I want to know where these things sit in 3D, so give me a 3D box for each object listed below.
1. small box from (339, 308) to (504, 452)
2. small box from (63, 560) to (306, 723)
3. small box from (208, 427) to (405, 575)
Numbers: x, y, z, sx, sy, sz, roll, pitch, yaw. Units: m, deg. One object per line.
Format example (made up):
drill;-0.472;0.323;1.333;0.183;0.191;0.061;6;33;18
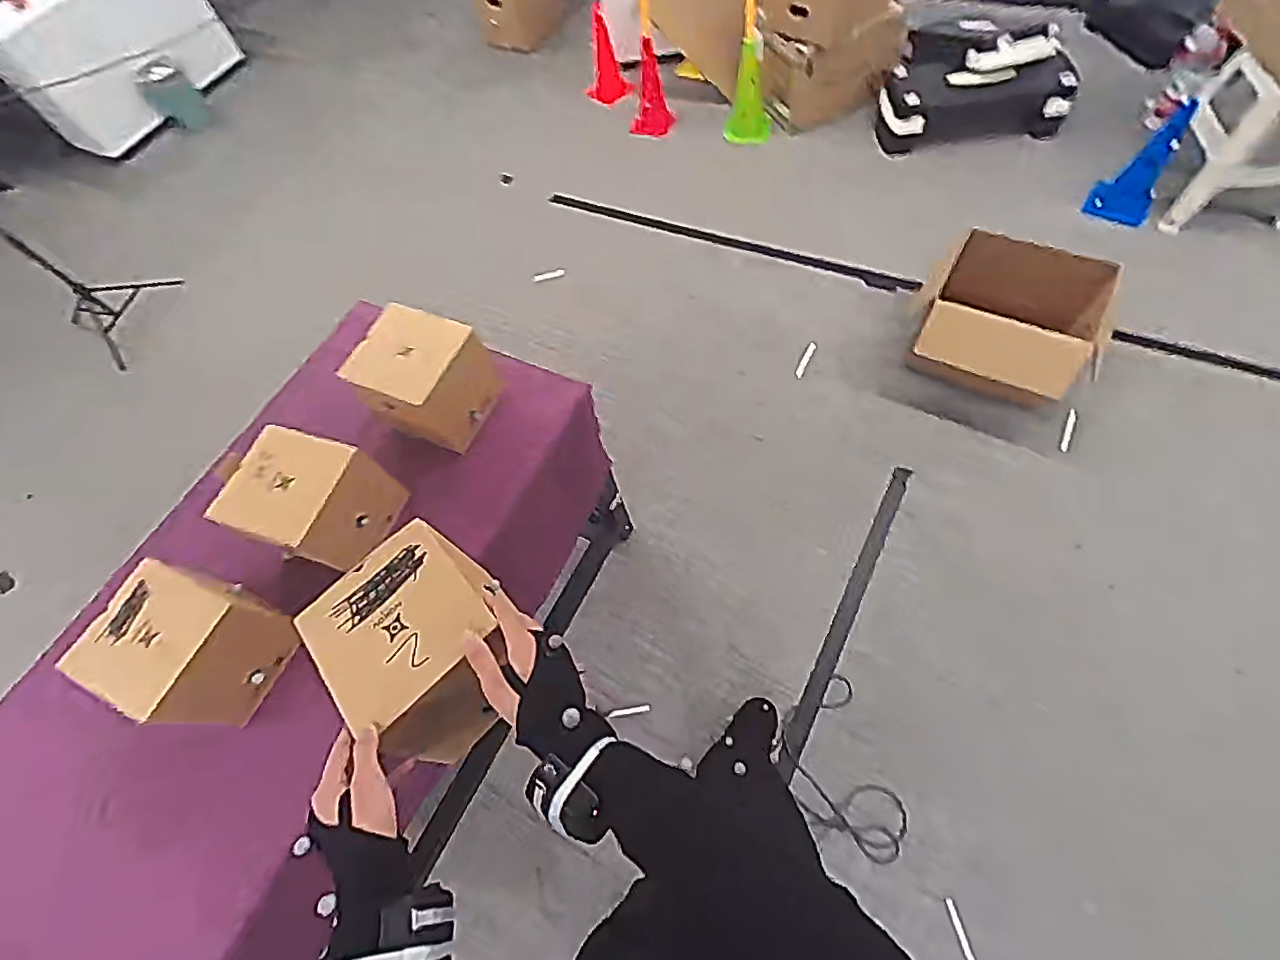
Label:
small box;-0.378;-0.172;0.964;0.179;0.176;0.168;20;69;17
small box;-0.652;0.245;0.797;0.179;0.176;0.168;20;68;16
small box;-0.524;0.041;0.879;0.179;0.176;0.168;14;66;15
